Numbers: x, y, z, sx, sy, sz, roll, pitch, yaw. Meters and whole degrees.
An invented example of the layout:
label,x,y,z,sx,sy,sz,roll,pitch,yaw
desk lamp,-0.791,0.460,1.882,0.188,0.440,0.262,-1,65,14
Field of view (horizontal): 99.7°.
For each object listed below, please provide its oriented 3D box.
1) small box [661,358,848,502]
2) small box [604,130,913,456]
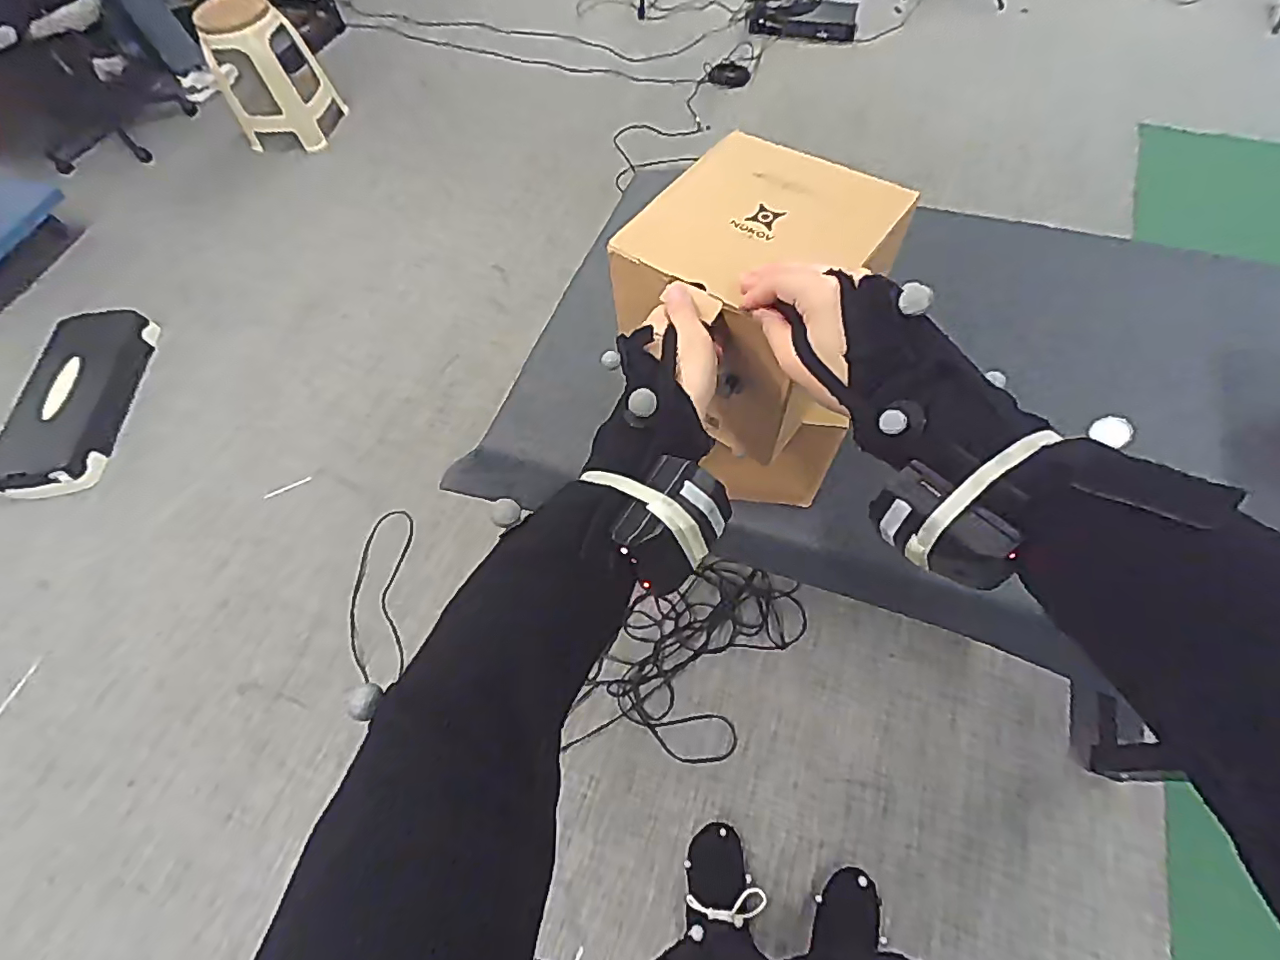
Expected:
label,x,y,z,sx,sy,sz,roll,pitch,yaw
small box,0.124,-0.087,0.614,0.179,0.176,0.168,6,62,8
small box,0.093,-0.152,0.467,0.168,0.176,0.179,33,68,19
